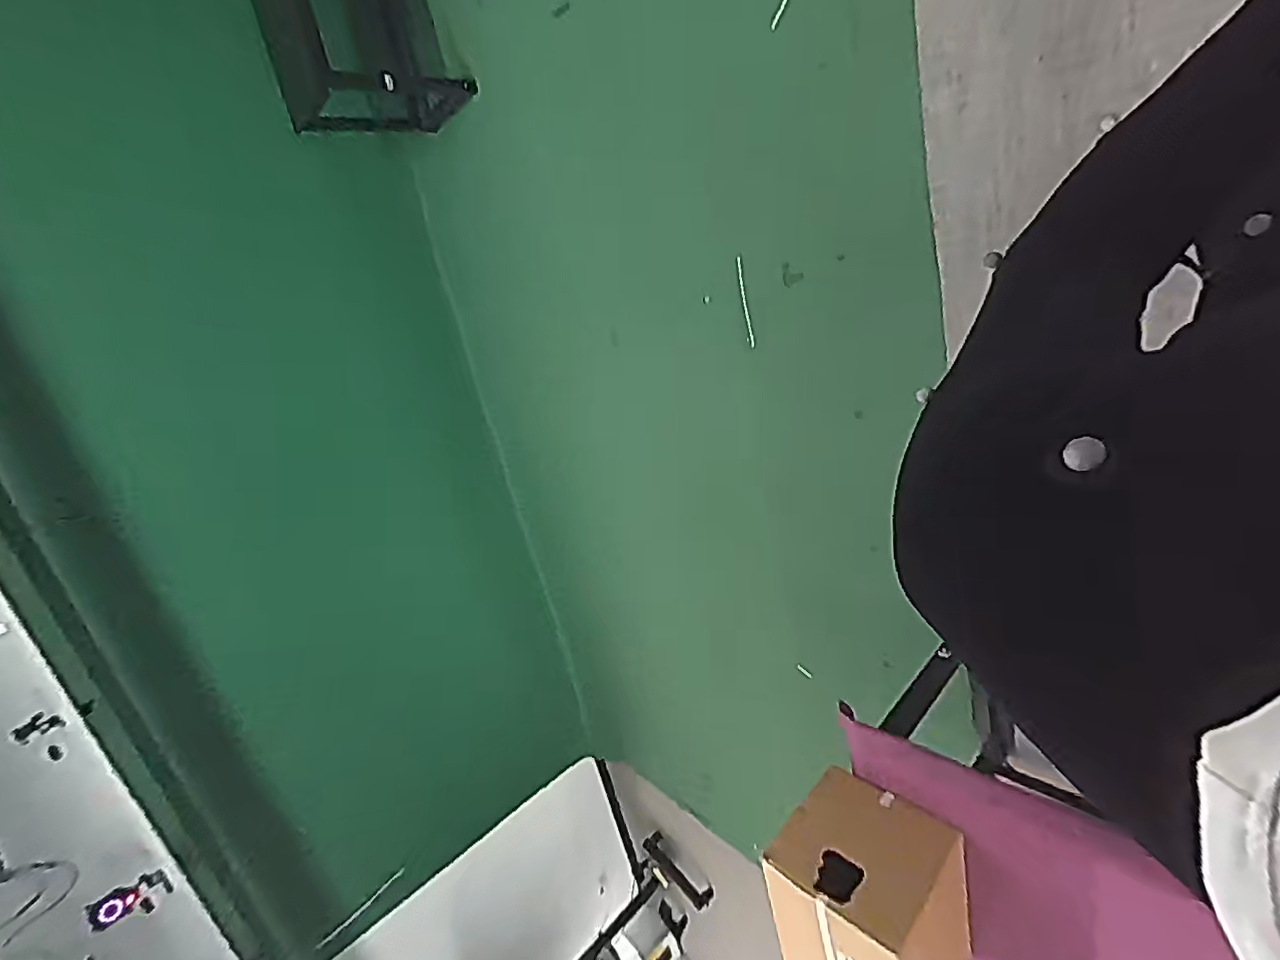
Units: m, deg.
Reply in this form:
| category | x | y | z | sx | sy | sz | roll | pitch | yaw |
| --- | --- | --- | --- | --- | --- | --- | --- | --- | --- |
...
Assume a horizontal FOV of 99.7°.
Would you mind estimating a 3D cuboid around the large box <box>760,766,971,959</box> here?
| category | x | y | z | sx | sy | sz | roll | pitch | yaw |
| --- | --- | --- | --- | --- | --- | --- | --- | --- | --- |
| large box | 0.520 | 0.971 | 1.231 | 0.320 | 0.320 | 0.408 | 6 | 115 | 49 |
